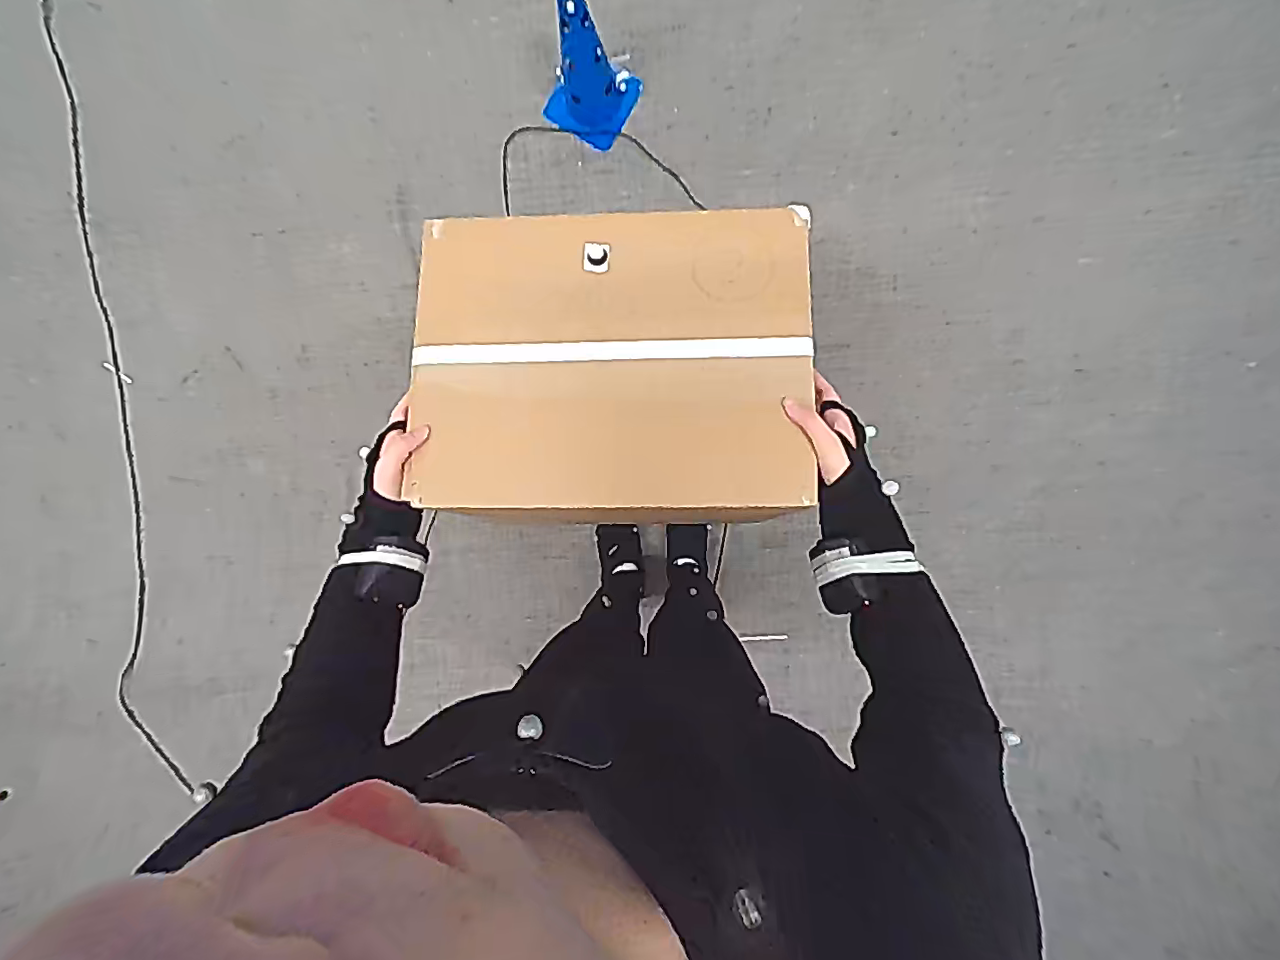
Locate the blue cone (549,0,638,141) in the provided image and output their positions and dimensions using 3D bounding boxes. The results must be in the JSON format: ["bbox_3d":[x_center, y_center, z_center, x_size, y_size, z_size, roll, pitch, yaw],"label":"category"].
[{"bbox_3d":[-0.124,-0.955,1.183,0.192,0.380,0.193,29,95,0],"label":"blue cone"}]
